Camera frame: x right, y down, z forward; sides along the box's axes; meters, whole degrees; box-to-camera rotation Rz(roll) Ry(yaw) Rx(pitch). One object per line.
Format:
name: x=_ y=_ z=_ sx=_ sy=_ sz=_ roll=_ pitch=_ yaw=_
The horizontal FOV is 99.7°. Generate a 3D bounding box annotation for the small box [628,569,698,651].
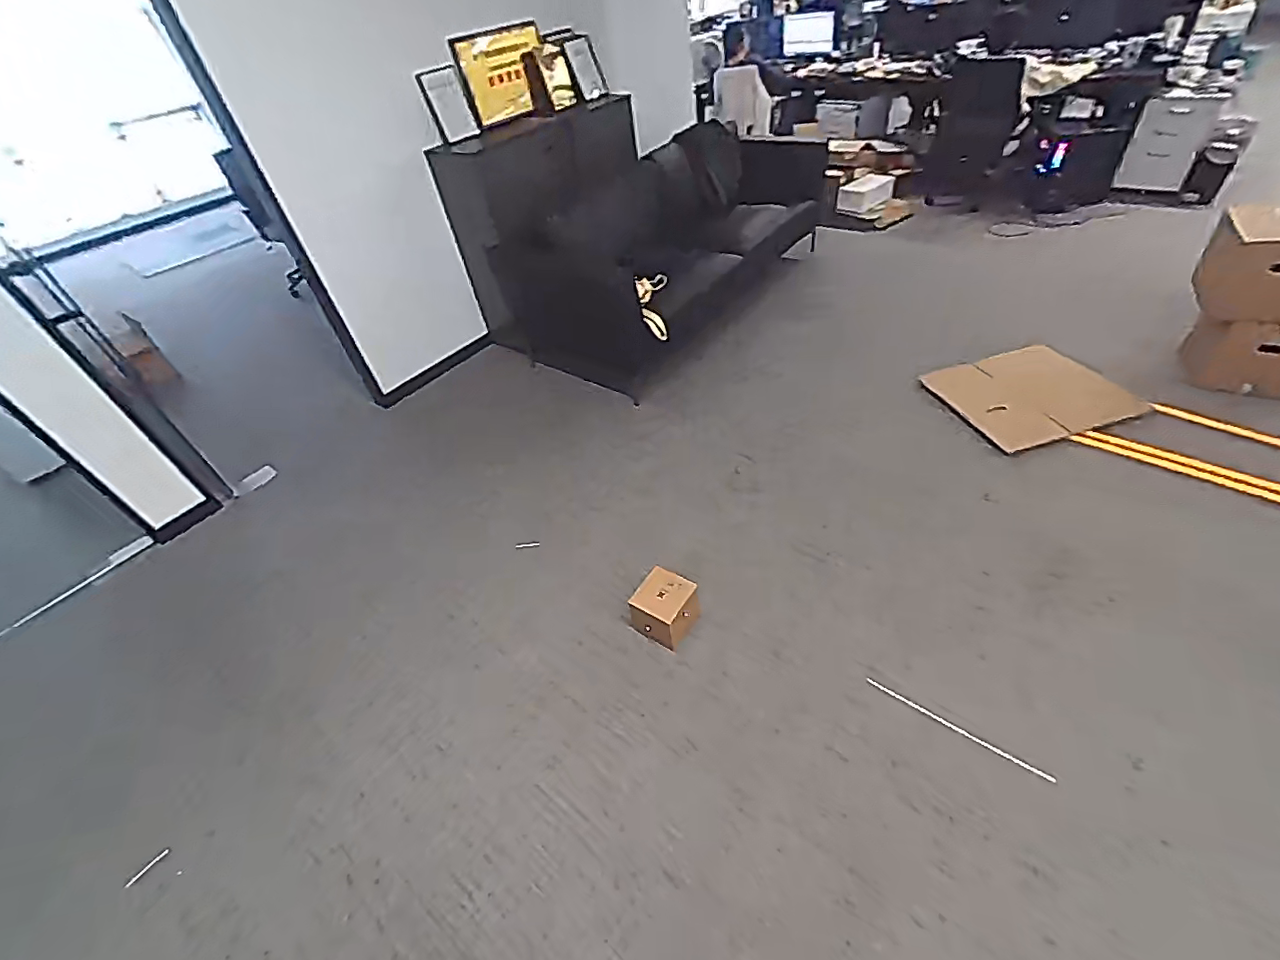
small box: x=0.085 y=0.438 z=1.810 sx=0.168 sy=0.176 sz=0.179 roll=22 pitch=51 yaw=29
